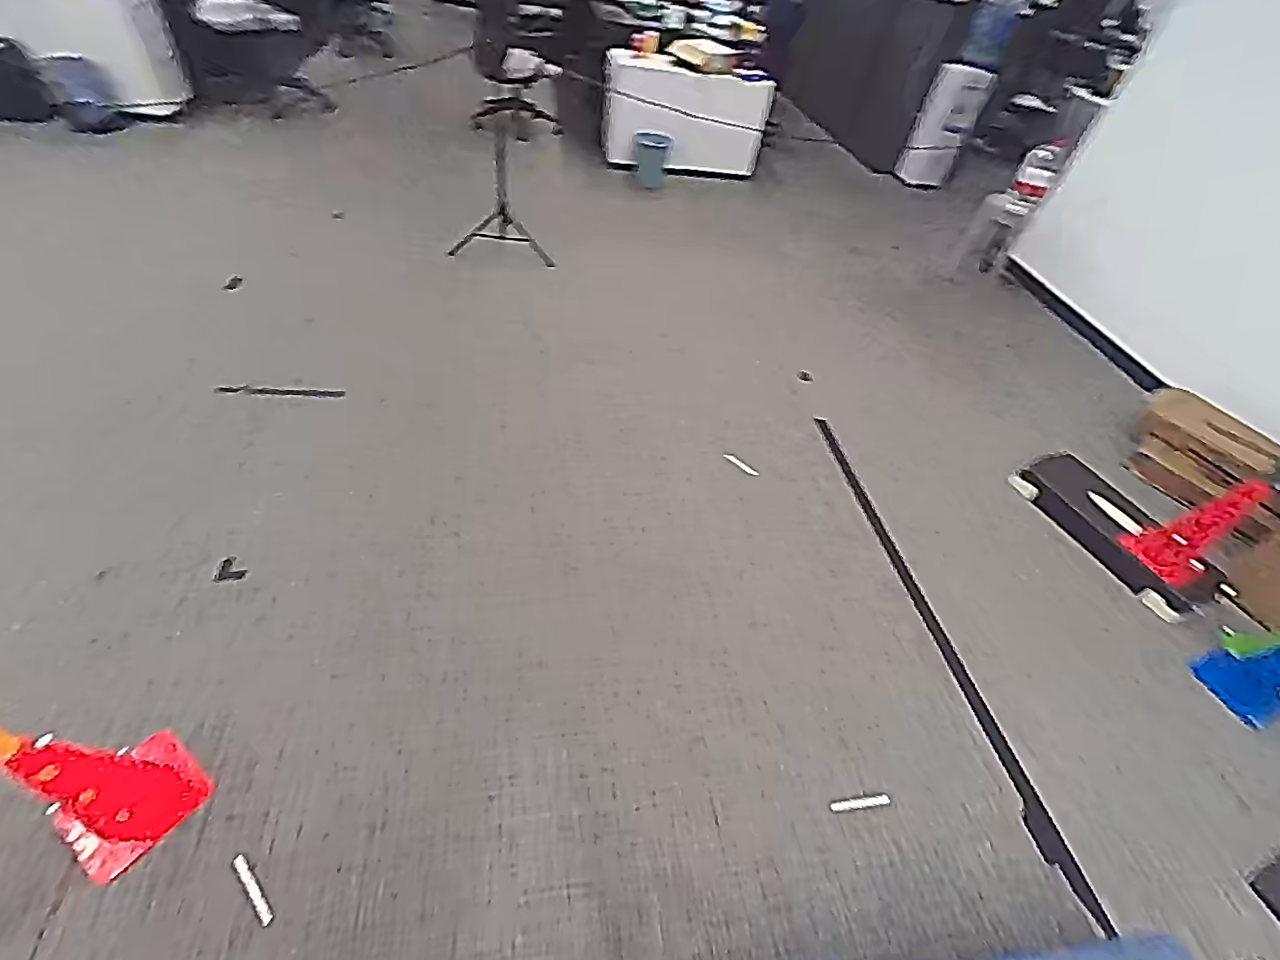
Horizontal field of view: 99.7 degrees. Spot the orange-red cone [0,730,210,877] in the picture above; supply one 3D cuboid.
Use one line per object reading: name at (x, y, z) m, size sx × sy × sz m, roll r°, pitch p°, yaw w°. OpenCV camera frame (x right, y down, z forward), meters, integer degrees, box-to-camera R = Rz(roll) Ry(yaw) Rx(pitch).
orange-red cone at (-0.966, 0.518, 0.939) m, size 0.199 × 0.360 × 0.198 m, roll 34°, pitch 52°, yaw 18°
